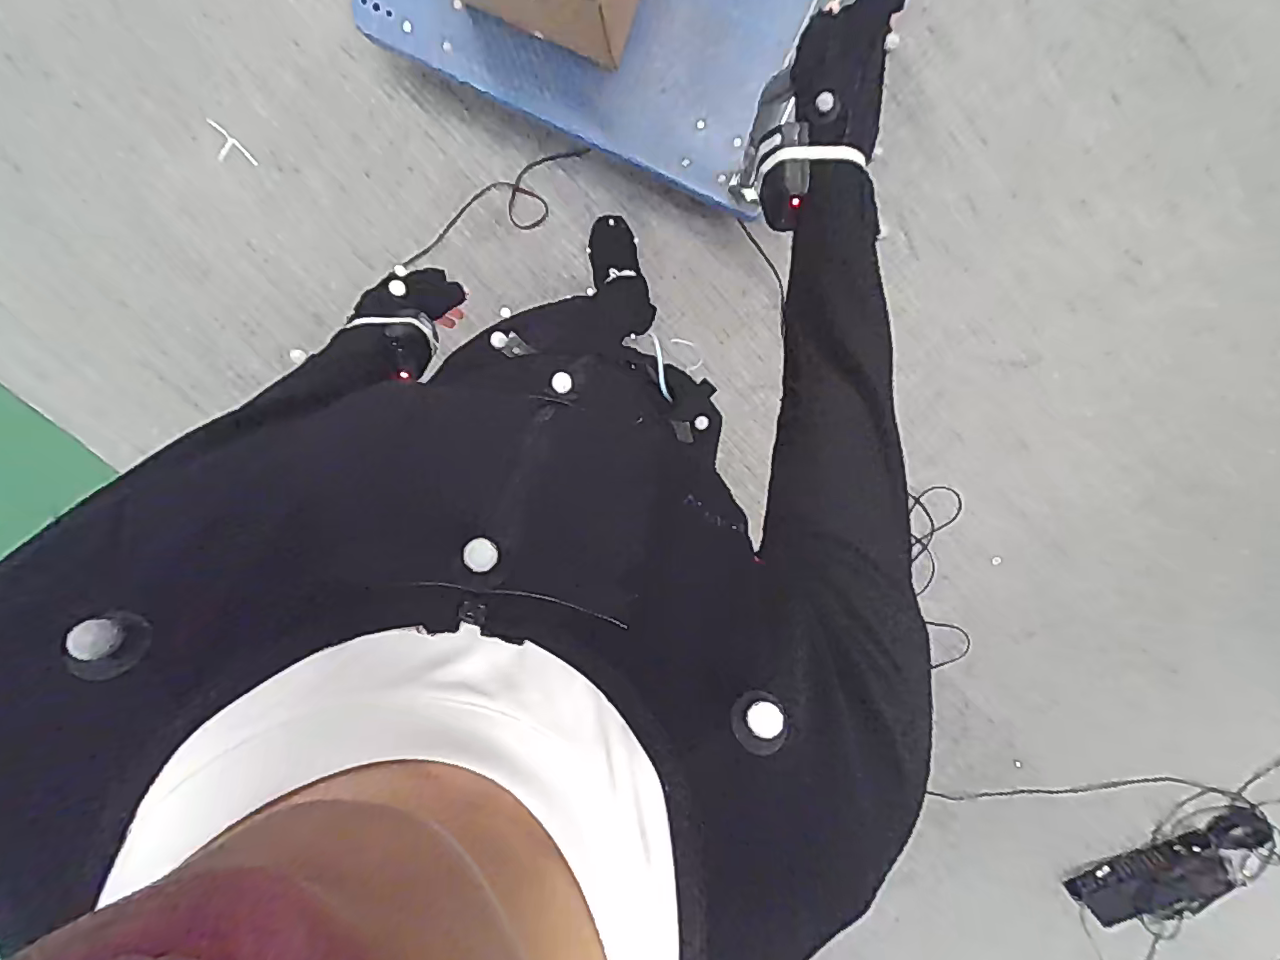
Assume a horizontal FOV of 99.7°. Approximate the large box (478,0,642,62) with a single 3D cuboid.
[{"bbox_3d":[-0.108,-0.959,0.808,0.320,0.320,0.408,20,111,-5],"label":"large box"}]
